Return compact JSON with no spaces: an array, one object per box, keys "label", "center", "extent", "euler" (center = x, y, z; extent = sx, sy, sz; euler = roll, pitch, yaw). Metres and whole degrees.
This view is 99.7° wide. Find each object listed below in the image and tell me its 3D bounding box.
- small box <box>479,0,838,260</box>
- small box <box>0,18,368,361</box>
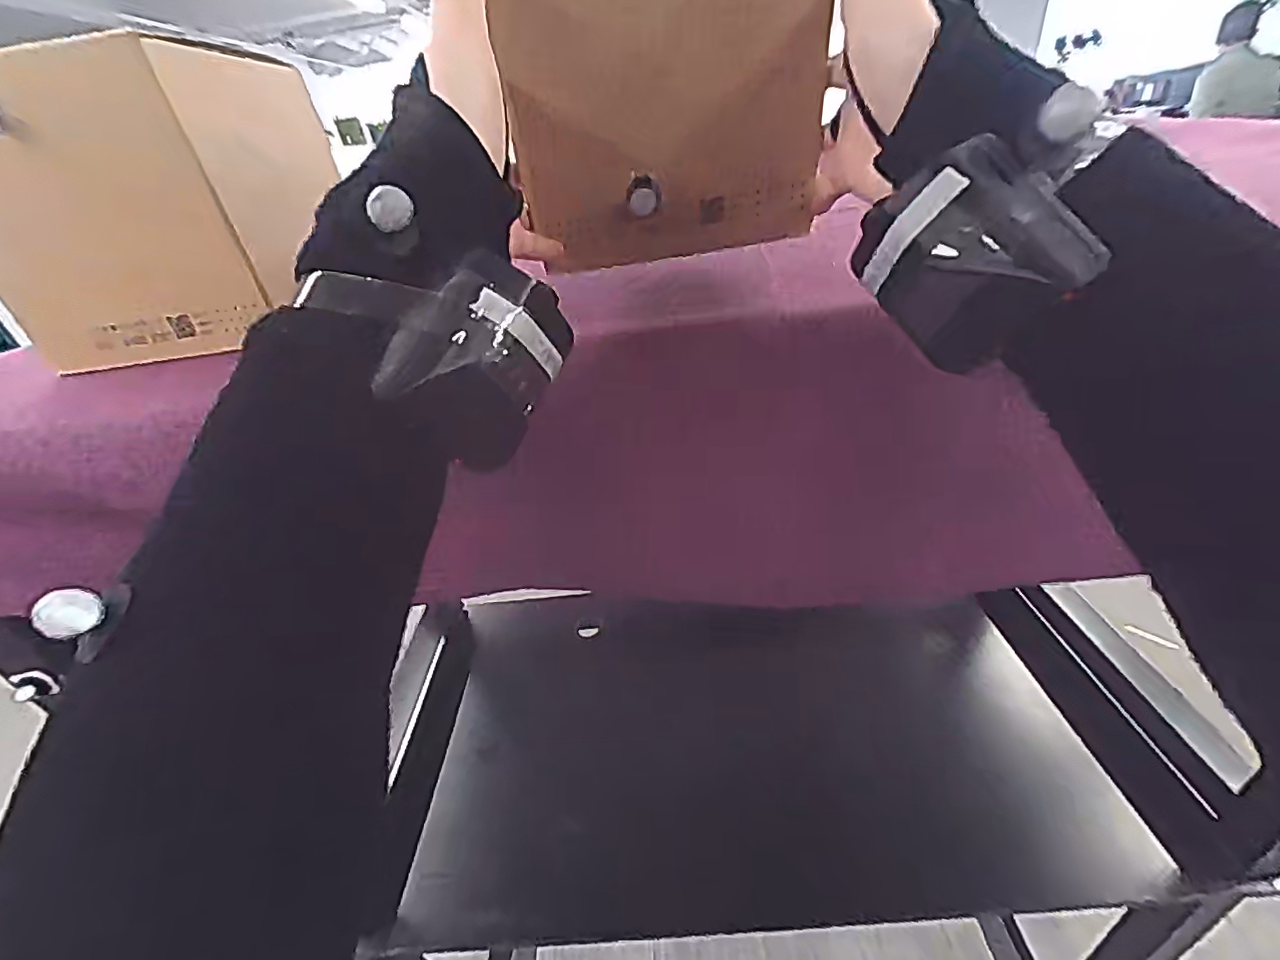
[{"label":"small box","center":[0.006,-0.255,0.317],"extent":[0.168,0.176,0.179],"euler":[-9,49,3]},{"label":"small box","center":[-0.328,-0.198,0.391],"extent":[0.168,0.176,0.179],"euler":[-8,32,3]}]
